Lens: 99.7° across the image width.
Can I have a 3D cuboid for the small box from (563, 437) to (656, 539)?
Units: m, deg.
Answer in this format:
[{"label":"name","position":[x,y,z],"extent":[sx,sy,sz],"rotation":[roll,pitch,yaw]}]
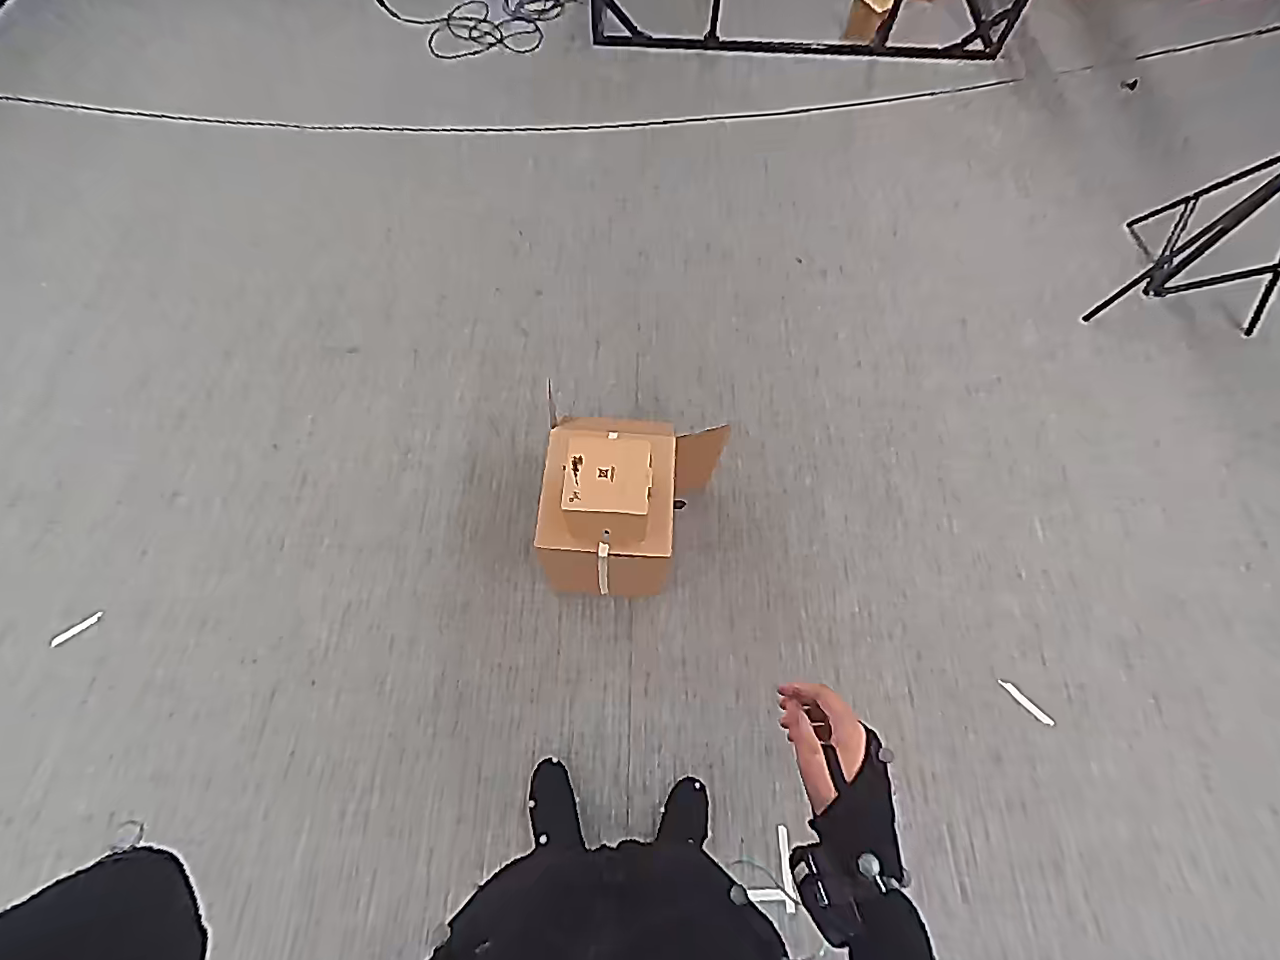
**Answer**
[{"label":"small box","position":[-0.063,0.023,1.164],"extent":[0.179,0.176,0.168],"rotation":[4,67,0]}]
